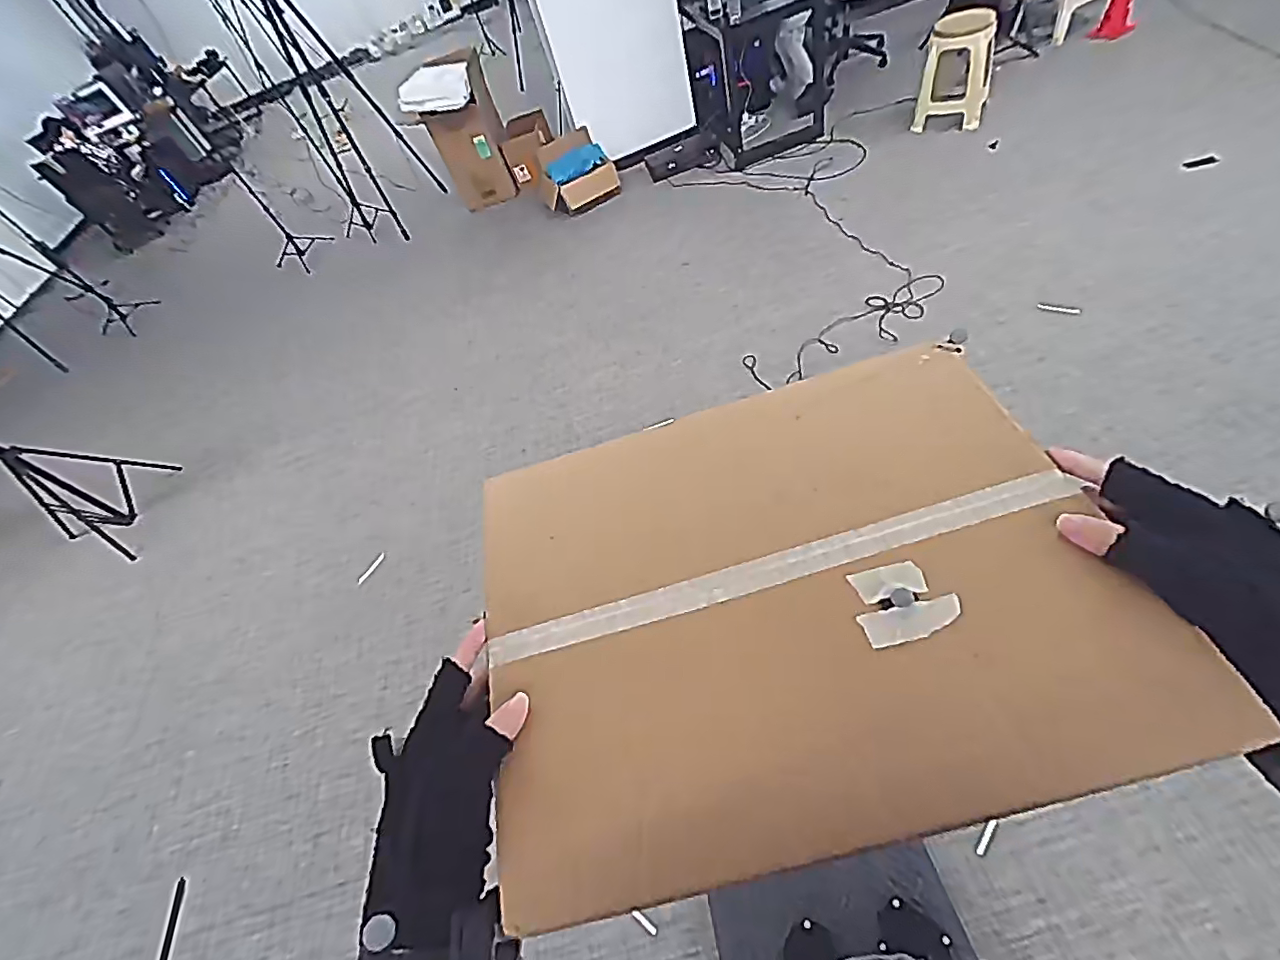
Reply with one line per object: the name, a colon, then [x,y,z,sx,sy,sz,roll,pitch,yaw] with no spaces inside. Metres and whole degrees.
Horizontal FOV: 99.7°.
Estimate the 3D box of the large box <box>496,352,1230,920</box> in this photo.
large box: [0.123,0.150,0.499,0.408,0.320,0.320,-17,54,3]
